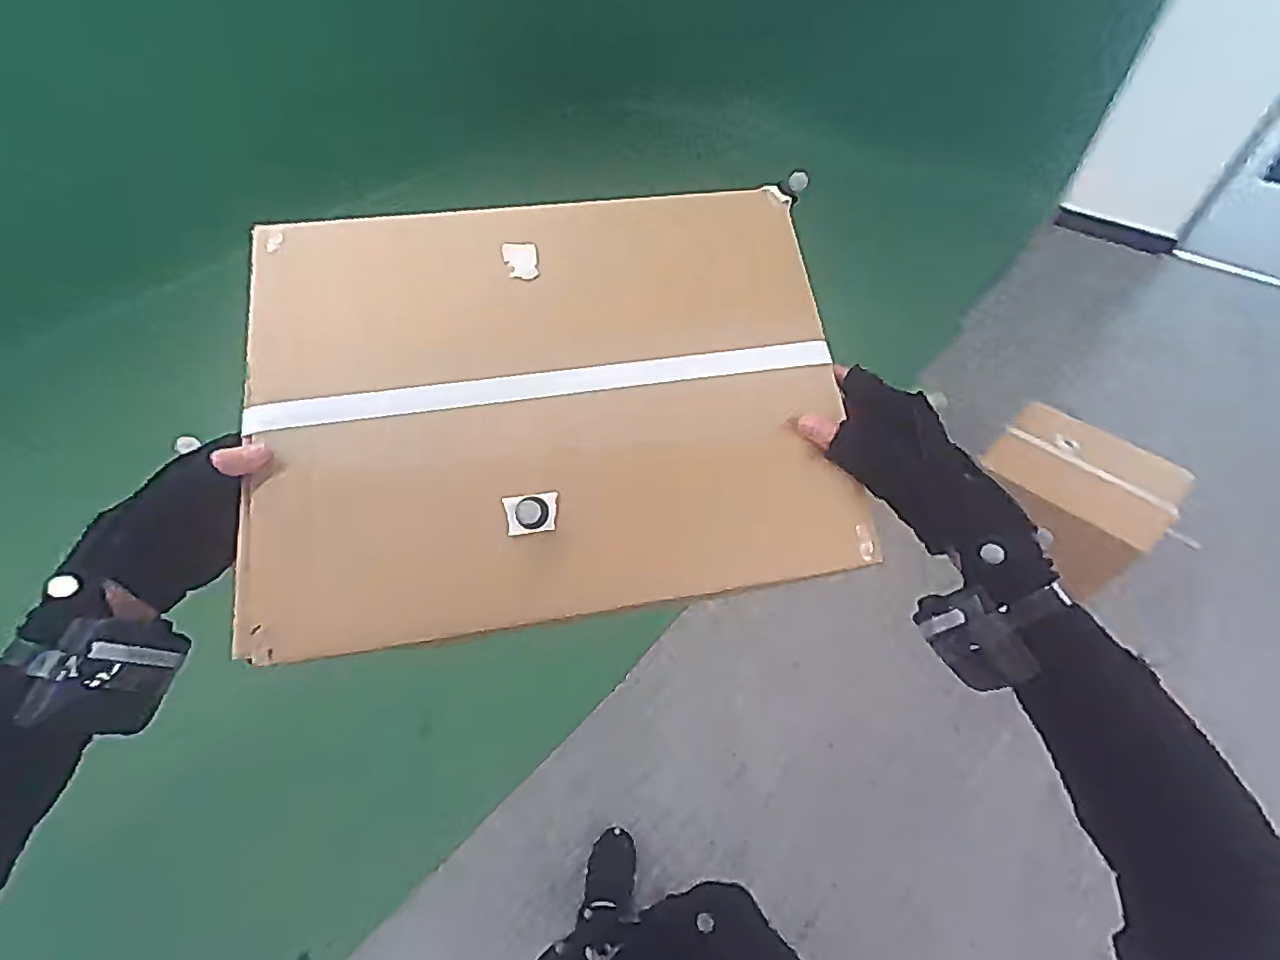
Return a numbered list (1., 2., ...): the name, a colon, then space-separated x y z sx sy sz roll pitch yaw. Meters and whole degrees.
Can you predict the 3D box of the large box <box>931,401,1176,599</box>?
1. large box: 1.131 0.056 1.523 0.320 0.320 0.408 -40 59 -22
